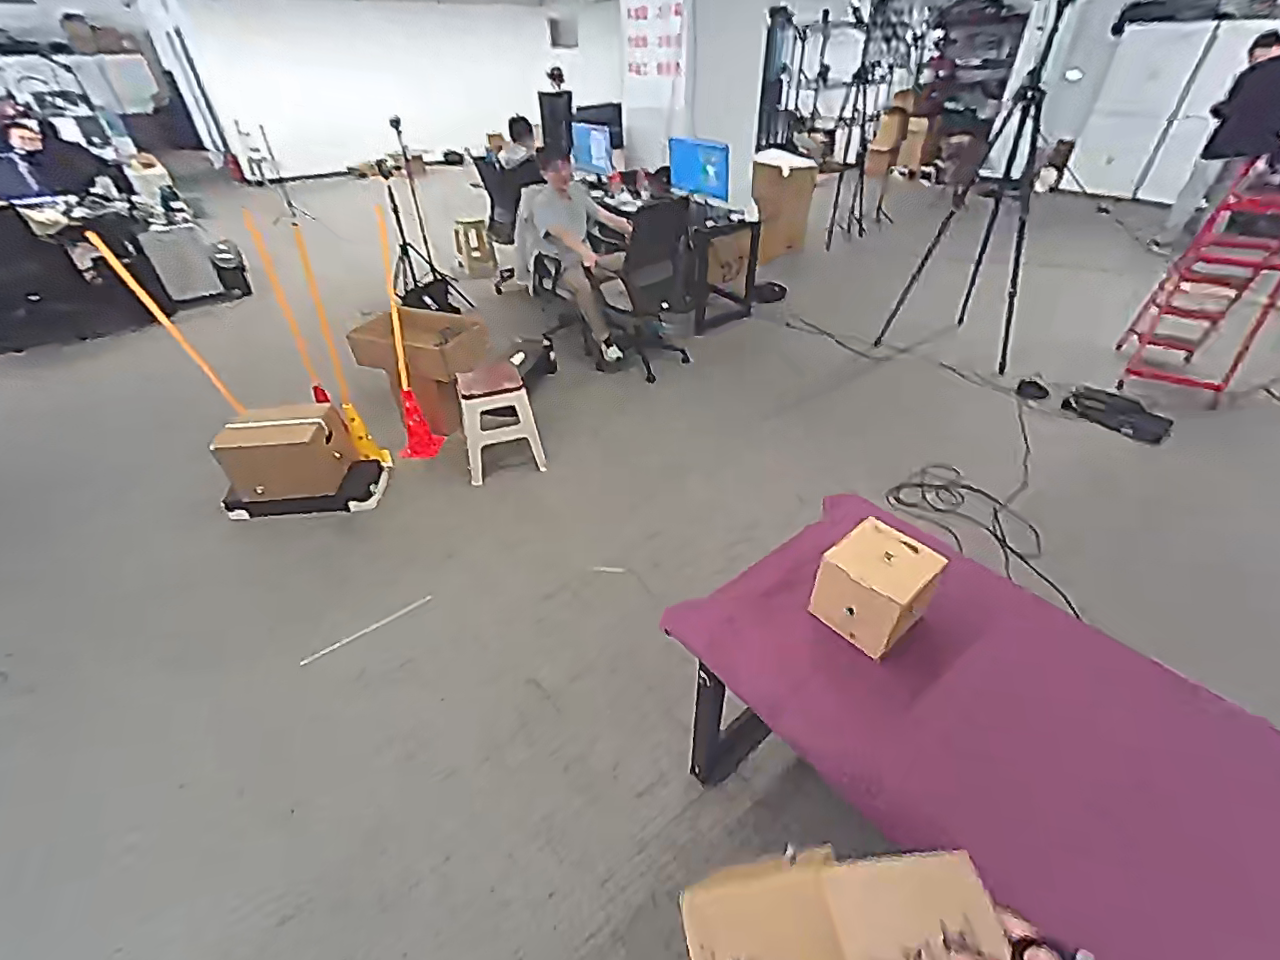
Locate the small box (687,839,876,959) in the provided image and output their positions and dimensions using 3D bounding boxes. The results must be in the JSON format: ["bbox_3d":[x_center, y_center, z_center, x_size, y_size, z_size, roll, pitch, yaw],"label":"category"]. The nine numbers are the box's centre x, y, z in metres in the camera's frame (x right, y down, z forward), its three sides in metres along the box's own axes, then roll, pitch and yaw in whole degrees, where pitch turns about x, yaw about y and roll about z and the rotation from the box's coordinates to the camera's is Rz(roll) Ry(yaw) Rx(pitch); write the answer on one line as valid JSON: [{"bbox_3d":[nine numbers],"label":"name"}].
[{"bbox_3d":[0.169,0.536,0.628,0.176,0.179,0.168,-22,58,15],"label":"small box"}]

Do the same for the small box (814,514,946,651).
[{"bbox_3d":[0.468,0.205,1.082,0.179,0.176,0.168,-29,46,-29],"label":"small box"}]
